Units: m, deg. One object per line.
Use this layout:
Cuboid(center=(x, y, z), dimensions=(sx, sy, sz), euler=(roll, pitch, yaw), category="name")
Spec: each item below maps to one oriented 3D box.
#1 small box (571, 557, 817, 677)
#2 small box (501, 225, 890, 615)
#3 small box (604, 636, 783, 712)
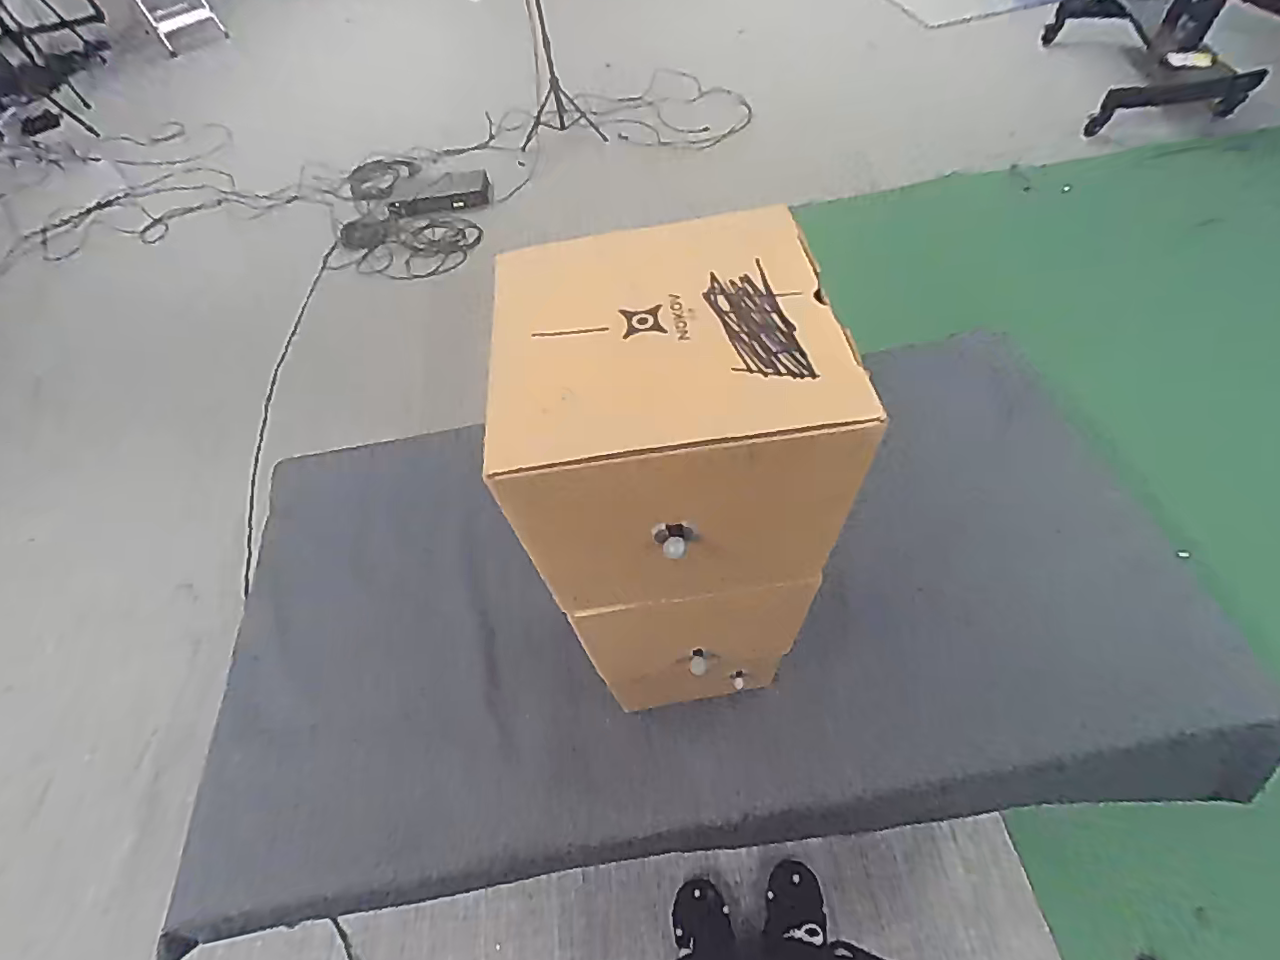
Cuboid(center=(0.033, 0.063, 0.483), dimensions=(0.179, 0.176, 0.168), euler=(-9, 55, -1), category="small box")
Cuboid(center=(0.020, -0.030, 0.347), dimensions=(0.179, 0.176, 0.168), euler=(-10, 56, -2), category="small box")
Cuboid(center=(0.046, 0.151, 0.619), dimensions=(0.179, 0.176, 0.168), euler=(-12, 55, -1), category="small box")
